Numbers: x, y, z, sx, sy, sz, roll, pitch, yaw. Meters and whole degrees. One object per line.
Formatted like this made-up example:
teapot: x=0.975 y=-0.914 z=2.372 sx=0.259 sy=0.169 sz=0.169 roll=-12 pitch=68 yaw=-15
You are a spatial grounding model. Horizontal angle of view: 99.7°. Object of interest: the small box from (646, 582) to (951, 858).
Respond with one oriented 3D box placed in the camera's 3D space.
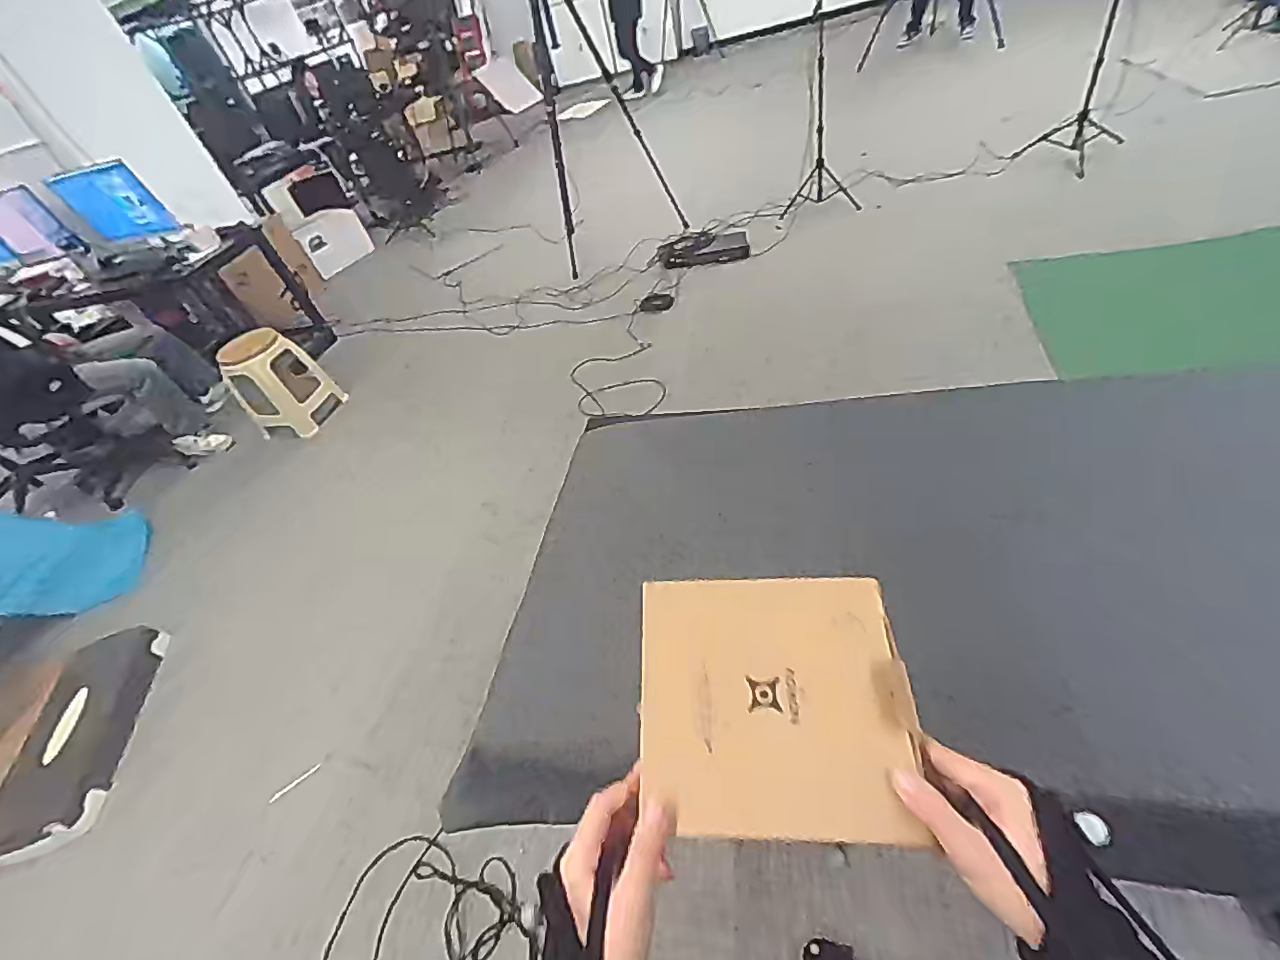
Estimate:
small box: x=0.101 y=0.188 z=0.420 sx=0.179 sy=0.176 sz=0.168 roll=-4 pitch=56 yaw=7
